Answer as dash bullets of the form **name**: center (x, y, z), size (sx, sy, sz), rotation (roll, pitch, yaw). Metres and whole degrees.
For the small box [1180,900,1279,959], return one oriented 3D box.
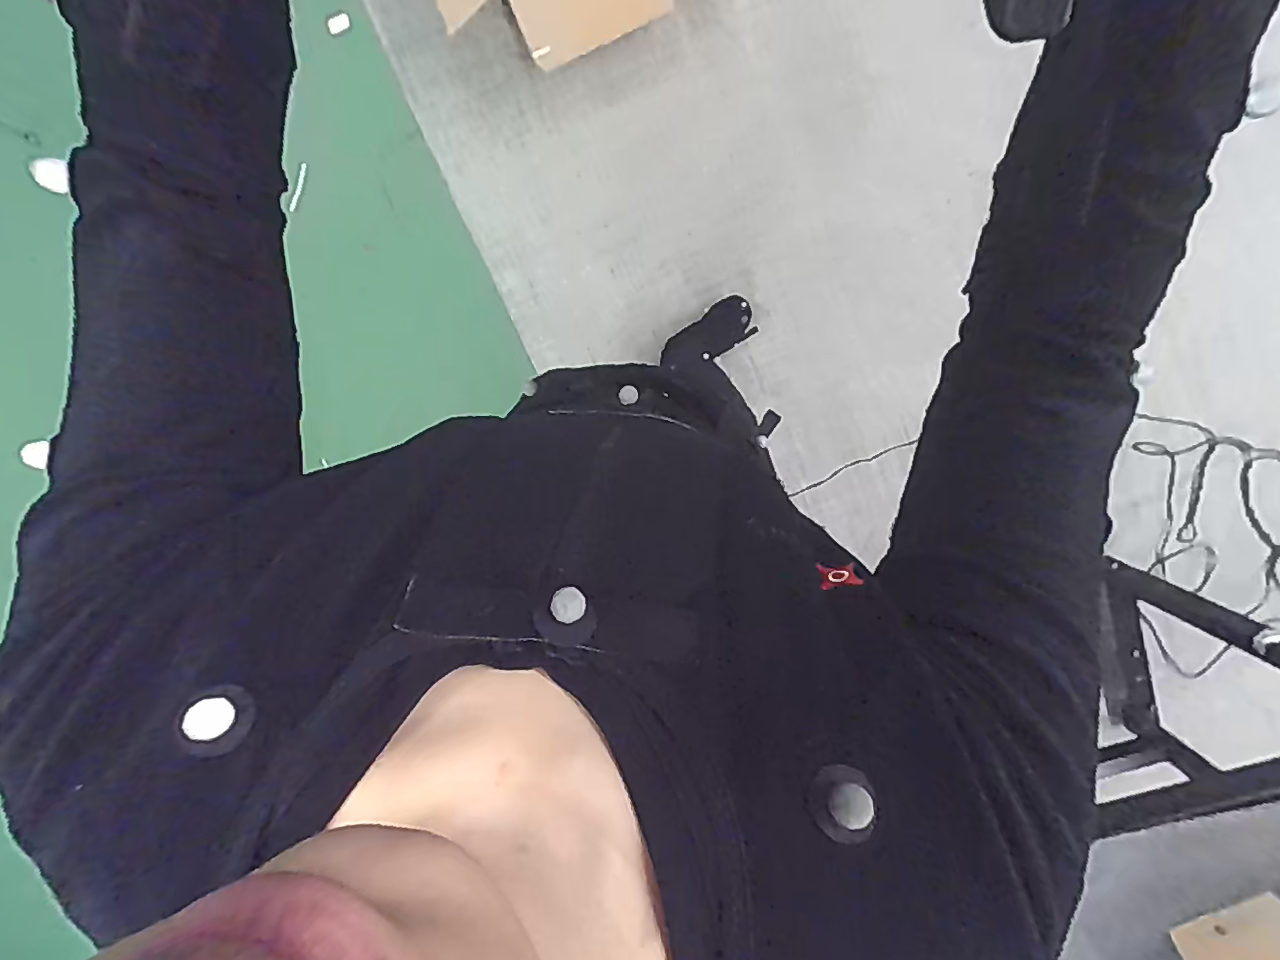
- **small box**: center (0.974, 0.772, 0.802), size (0.168, 0.176, 0.179), rotation (-31, 101, 9)
